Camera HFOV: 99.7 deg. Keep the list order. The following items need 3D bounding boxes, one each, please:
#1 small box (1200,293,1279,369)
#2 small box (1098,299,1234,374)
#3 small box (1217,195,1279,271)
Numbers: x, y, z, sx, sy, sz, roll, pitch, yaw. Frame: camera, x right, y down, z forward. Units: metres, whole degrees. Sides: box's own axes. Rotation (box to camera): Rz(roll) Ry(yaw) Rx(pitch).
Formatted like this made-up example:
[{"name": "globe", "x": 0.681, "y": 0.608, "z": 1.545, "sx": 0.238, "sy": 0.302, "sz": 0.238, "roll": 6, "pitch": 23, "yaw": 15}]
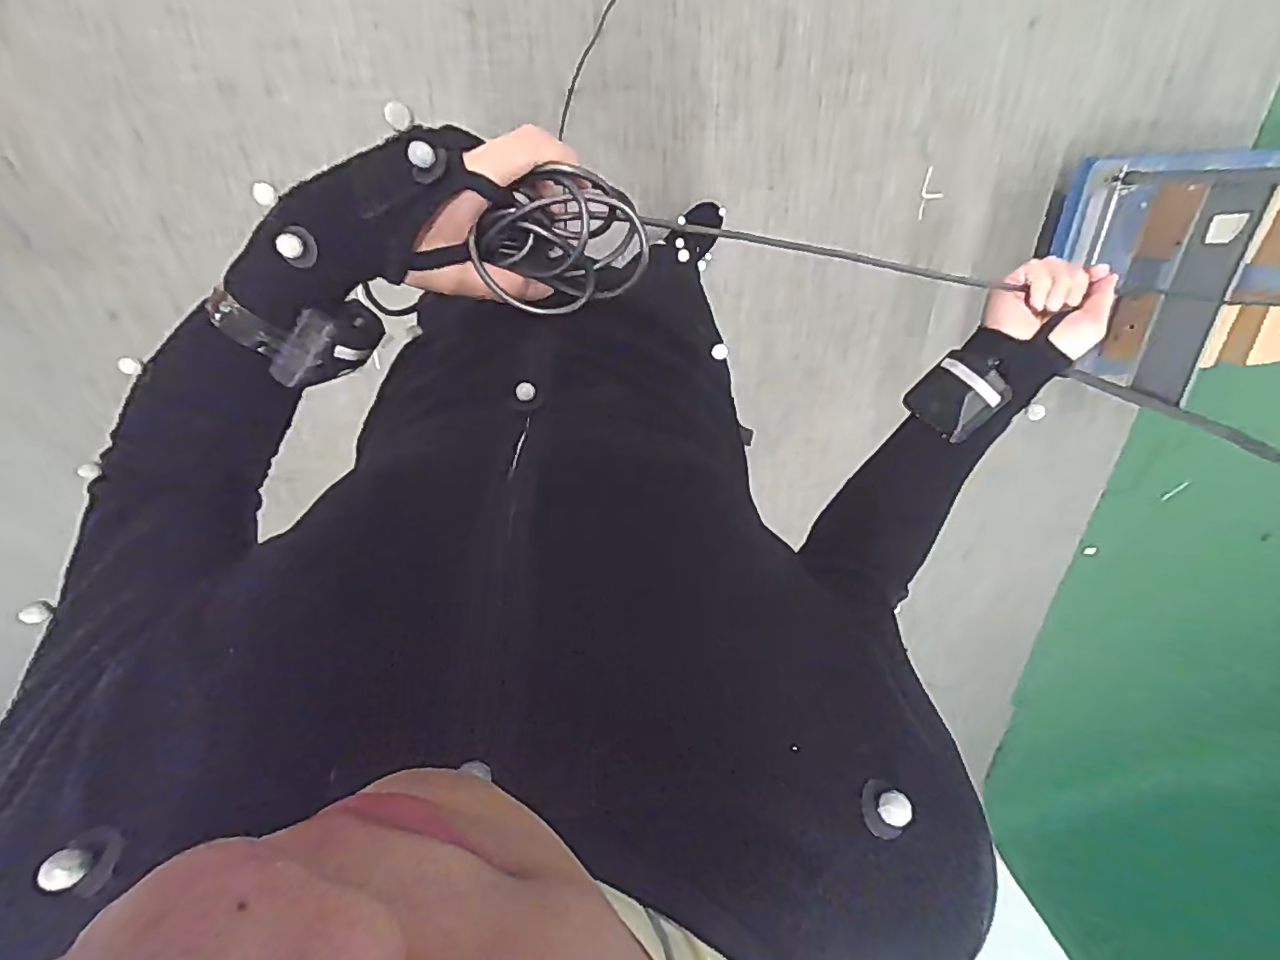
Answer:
[{"name": "small box", "x": 1.706, "y": -0.424, "z": 1.520, "sx": 0.179, "sy": 0.176, "sz": 0.168, "roll": -8, "pitch": 118, "yaw": -4}, {"name": "small box", "x": 1.438, "y": -0.400, "z": 1.491, "sx": 0.179, "sy": 0.176, "sz": 0.168, "roll": -4, "pitch": 118, "yaw": -6}, {"name": "small box", "x": 1.680, "y": -0.644, "z": 1.401, "sx": 0.179, "sy": 0.176, "sz": 0.168, "roll": -8, "pitch": 119, "yaw": -5}]
